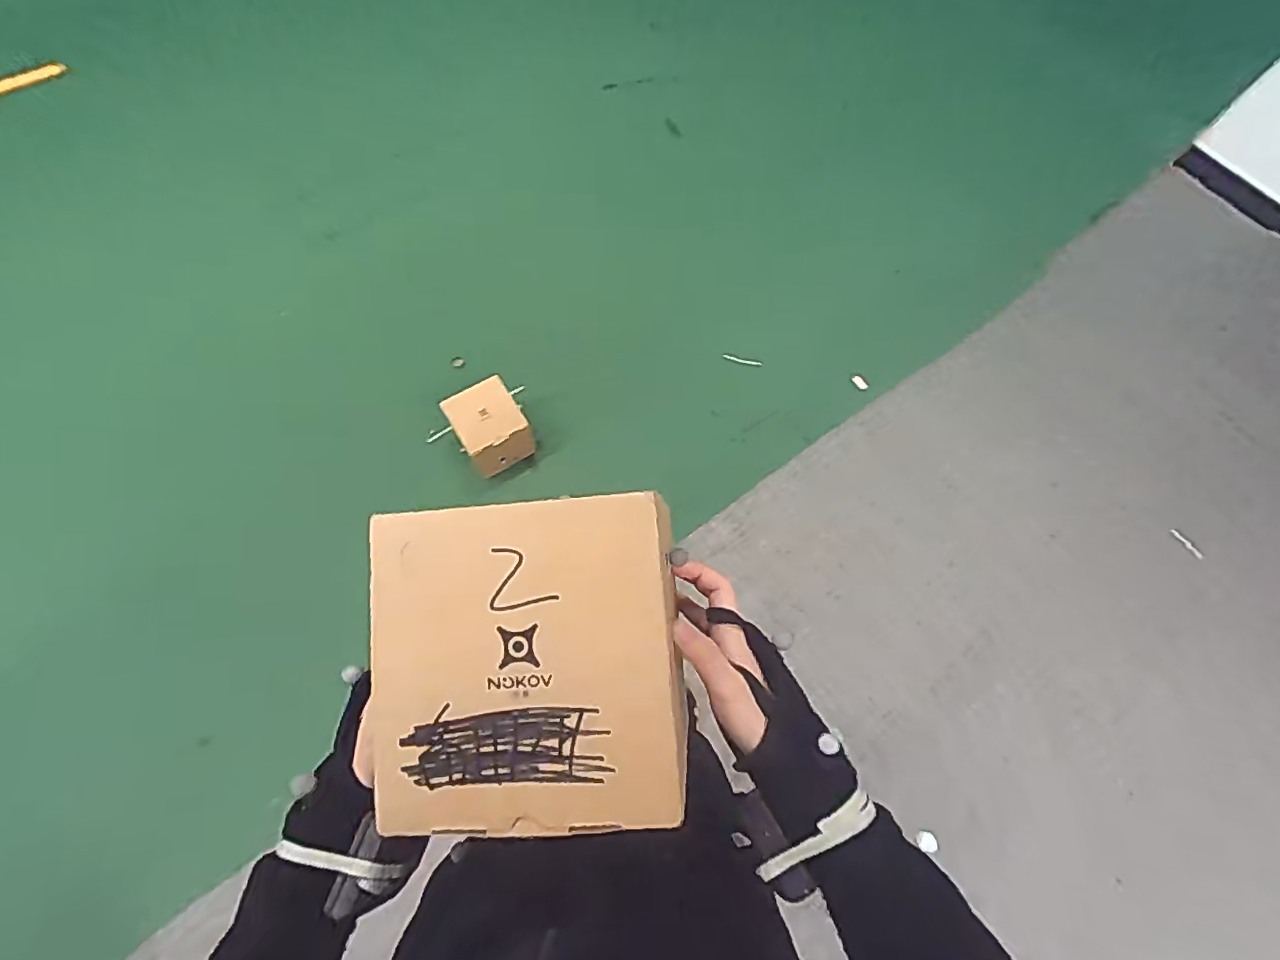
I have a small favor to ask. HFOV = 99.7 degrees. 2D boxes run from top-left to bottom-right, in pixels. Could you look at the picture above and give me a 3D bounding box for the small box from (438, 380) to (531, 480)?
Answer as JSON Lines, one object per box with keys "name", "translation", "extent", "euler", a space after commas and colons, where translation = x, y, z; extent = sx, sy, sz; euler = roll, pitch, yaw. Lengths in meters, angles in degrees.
{"name": "small box", "translation": [-0.412, -0.130, 1.454], "extent": [0.168, 0.176, 0.179], "euler": [-31, 75, -15]}
